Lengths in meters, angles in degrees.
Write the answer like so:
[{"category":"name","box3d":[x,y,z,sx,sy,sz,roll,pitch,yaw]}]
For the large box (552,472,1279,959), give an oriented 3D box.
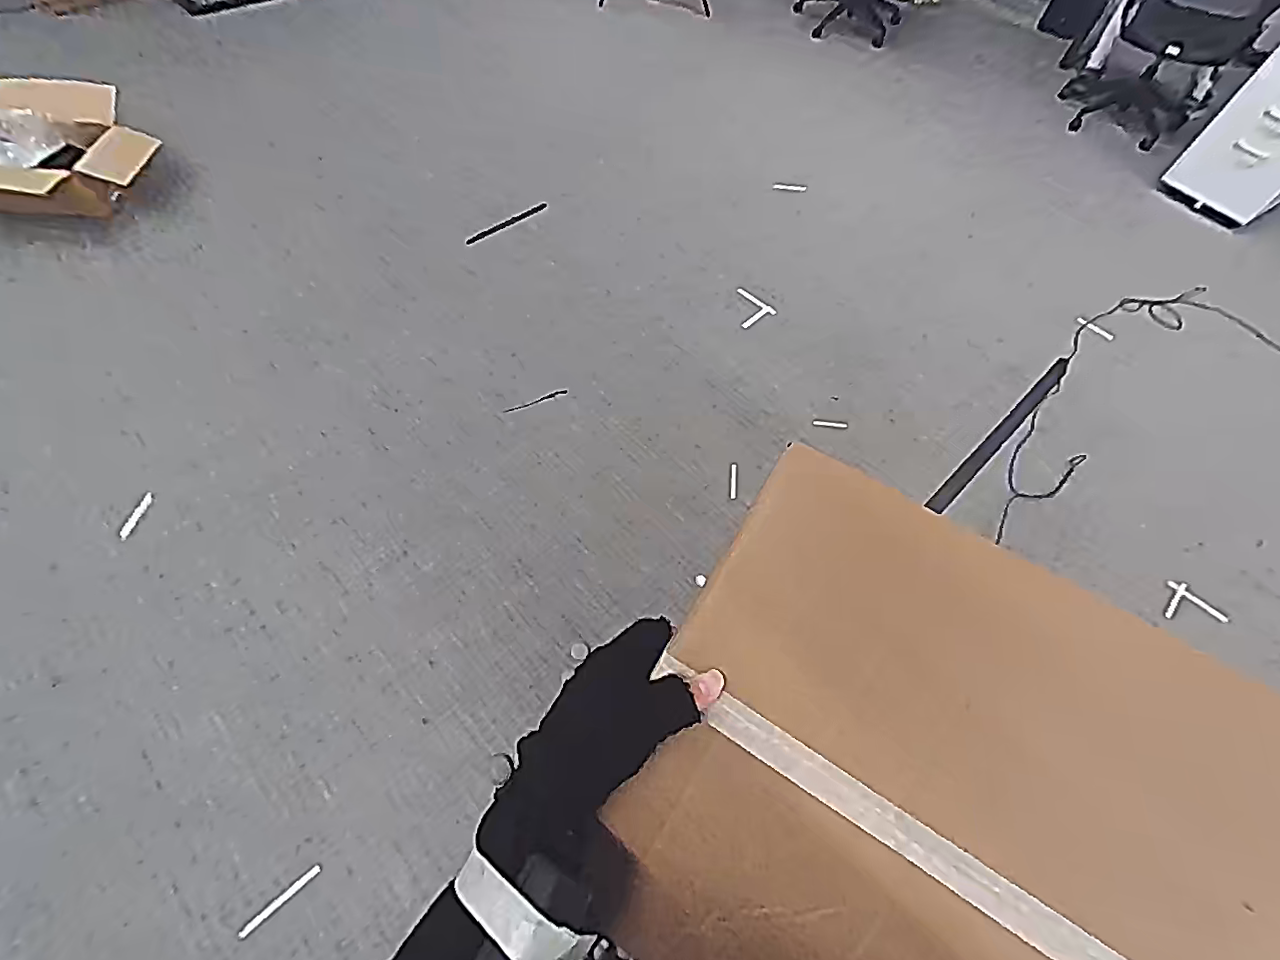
[{"category":"large box","box3d":[0.216,0.226,0.441,0.408,0.320,0.320,30,93,13]}]
